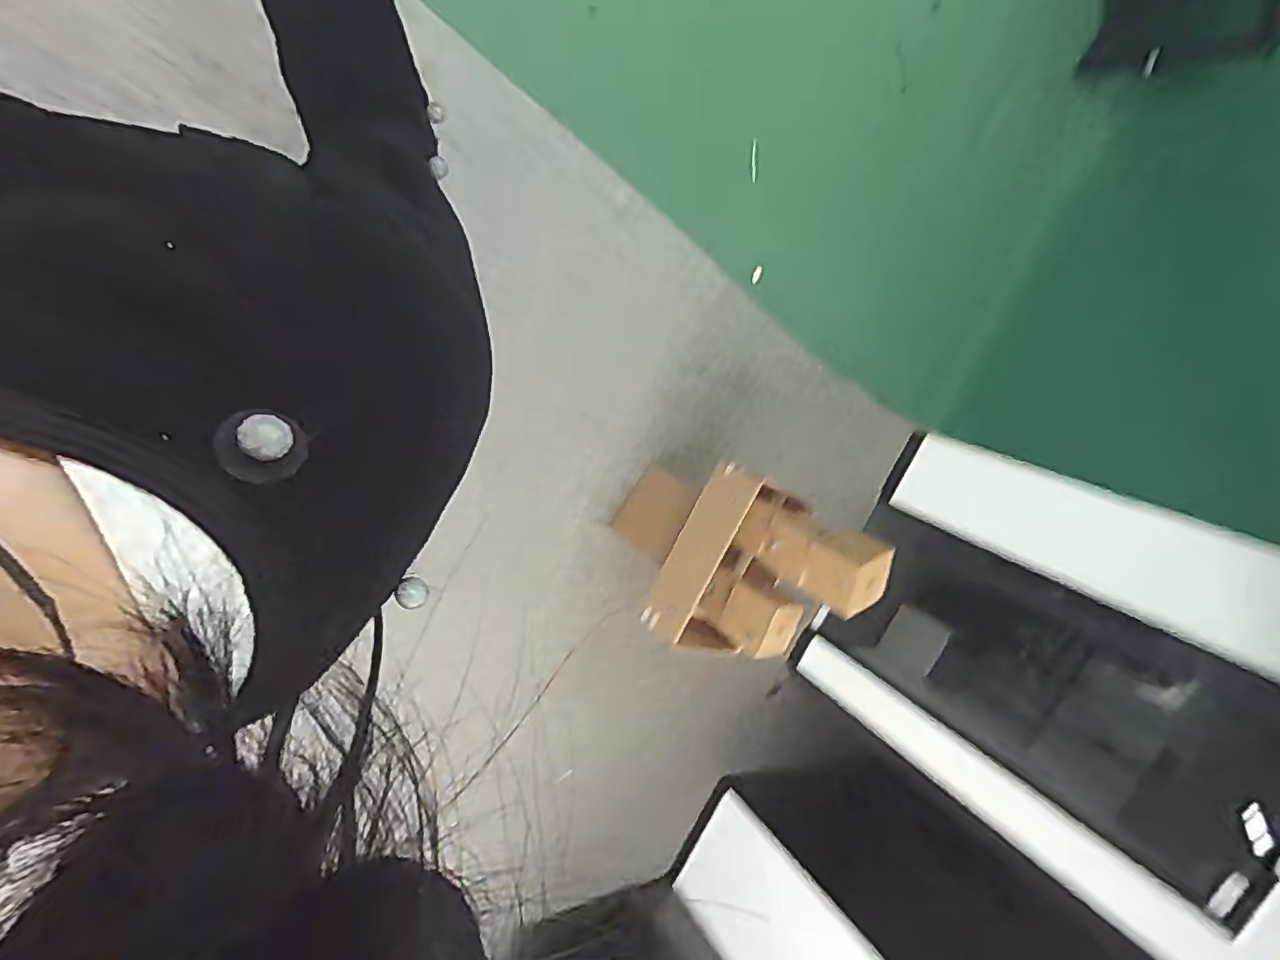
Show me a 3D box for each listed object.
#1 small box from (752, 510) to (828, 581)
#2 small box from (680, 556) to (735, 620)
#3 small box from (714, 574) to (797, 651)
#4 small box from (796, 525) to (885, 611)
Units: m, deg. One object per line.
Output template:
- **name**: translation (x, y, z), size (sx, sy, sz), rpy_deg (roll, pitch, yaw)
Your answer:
- **small box**: translation (0.491, 0.202, 1.723), size (0.179, 0.176, 0.168), rpy_deg (0, 112, -39)
- **small box**: translation (0.268, 0.384, 1.866), size (0.179, 0.176, 0.168), rpy_deg (36, 87, -45)
- **small box**: translation (0.362, 0.421, 1.731), size (0.168, 0.176, 0.179), rpy_deg (10, 104, -44)
- **small box**: translation (0.586, 0.249, 1.599), size (0.168, 0.176, 0.179), rpy_deg (-15, 121, -33)
